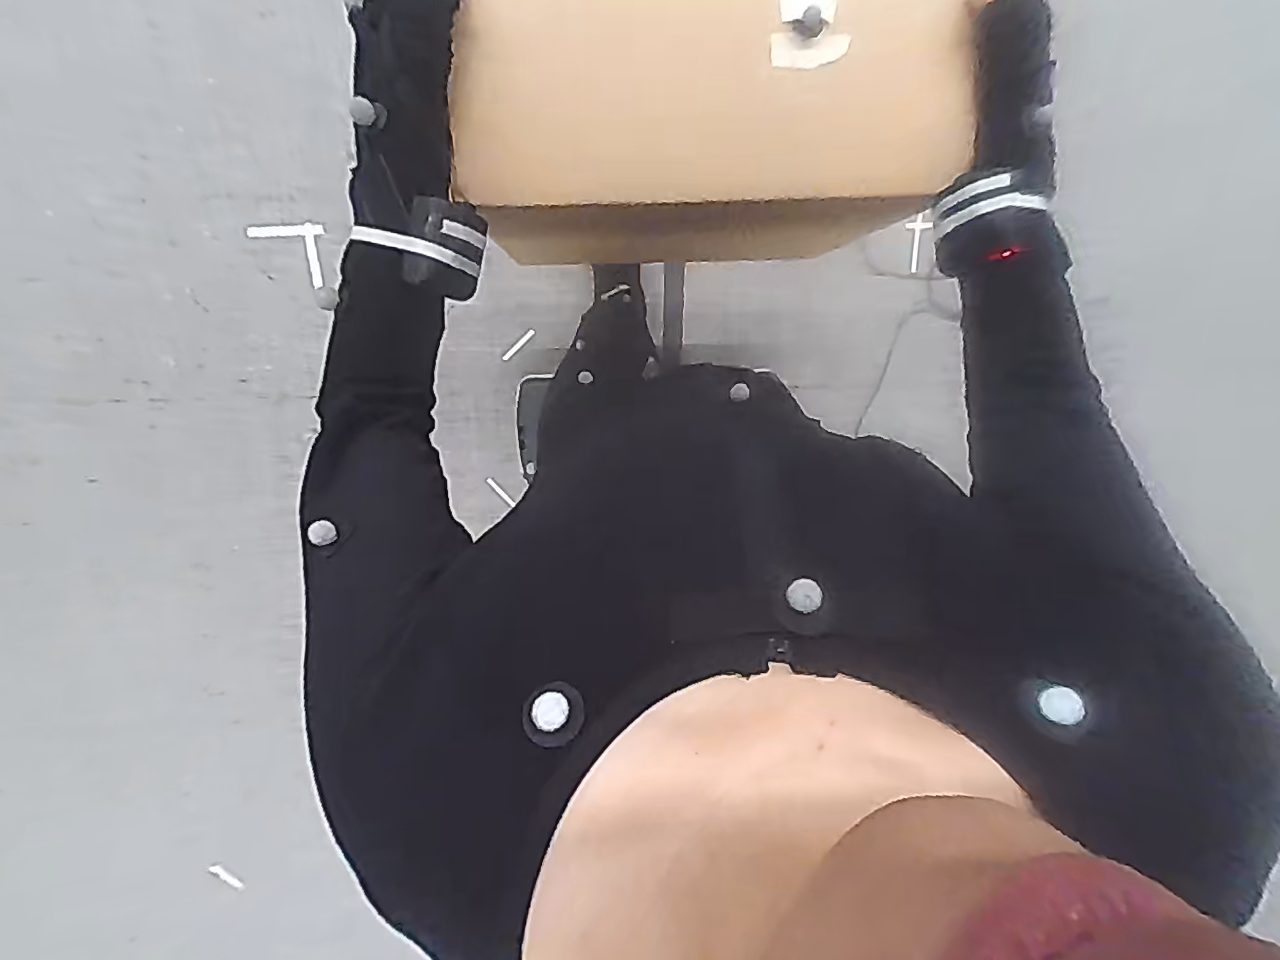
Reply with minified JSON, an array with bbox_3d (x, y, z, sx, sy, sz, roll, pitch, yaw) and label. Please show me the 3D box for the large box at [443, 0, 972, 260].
[{"bbox_3d":[0.041,-0.416,0.538,0.408,0.320,0.320,-3,104,-4],"label":"large box"}]
